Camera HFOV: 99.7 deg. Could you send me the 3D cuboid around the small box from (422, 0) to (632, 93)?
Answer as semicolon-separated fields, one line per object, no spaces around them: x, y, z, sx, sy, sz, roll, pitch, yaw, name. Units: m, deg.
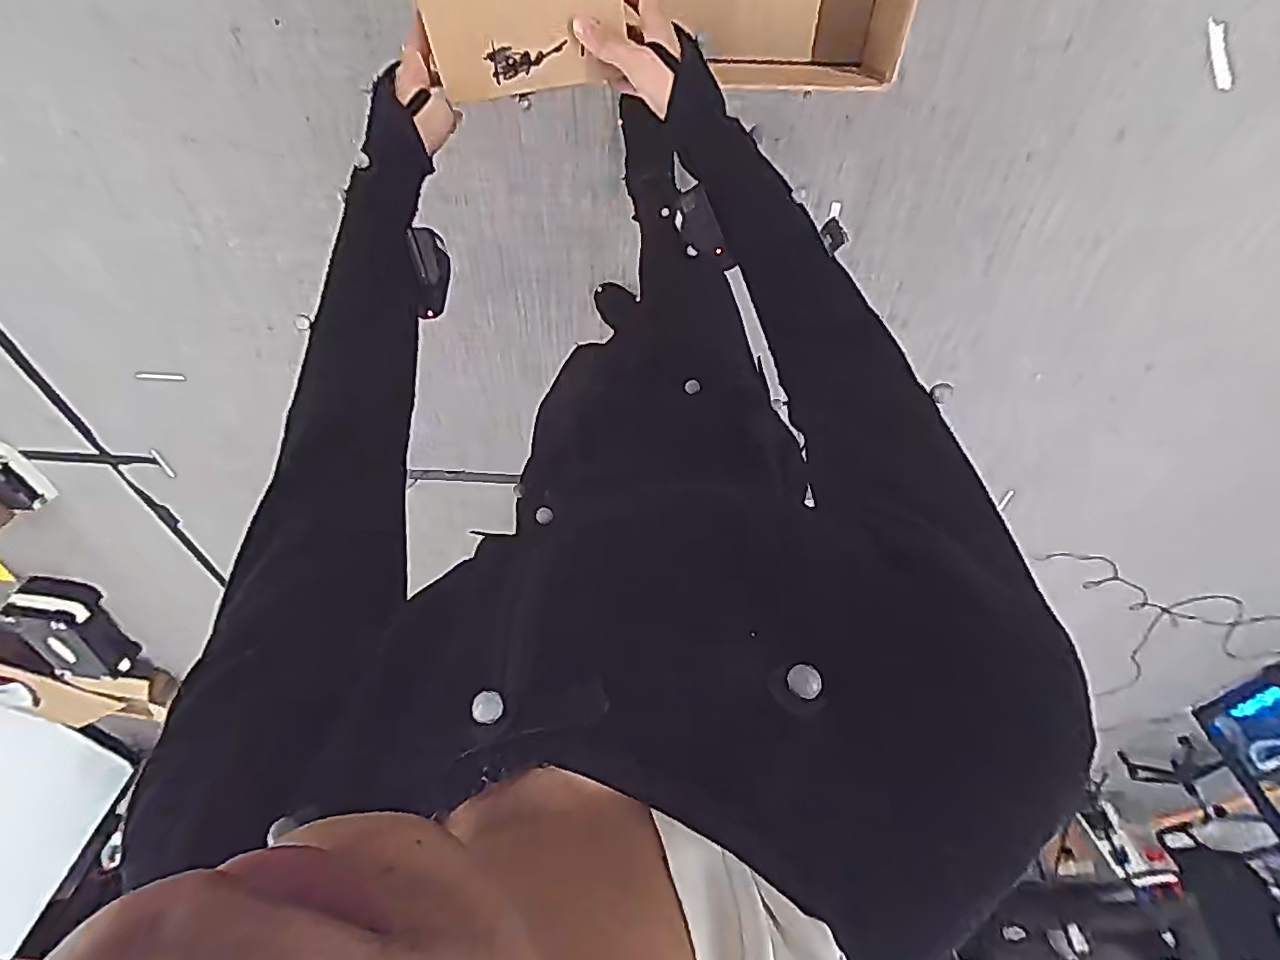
-0.100;-0.461;0.477;0.168;0.176;0.179;-6;129;3;small box
